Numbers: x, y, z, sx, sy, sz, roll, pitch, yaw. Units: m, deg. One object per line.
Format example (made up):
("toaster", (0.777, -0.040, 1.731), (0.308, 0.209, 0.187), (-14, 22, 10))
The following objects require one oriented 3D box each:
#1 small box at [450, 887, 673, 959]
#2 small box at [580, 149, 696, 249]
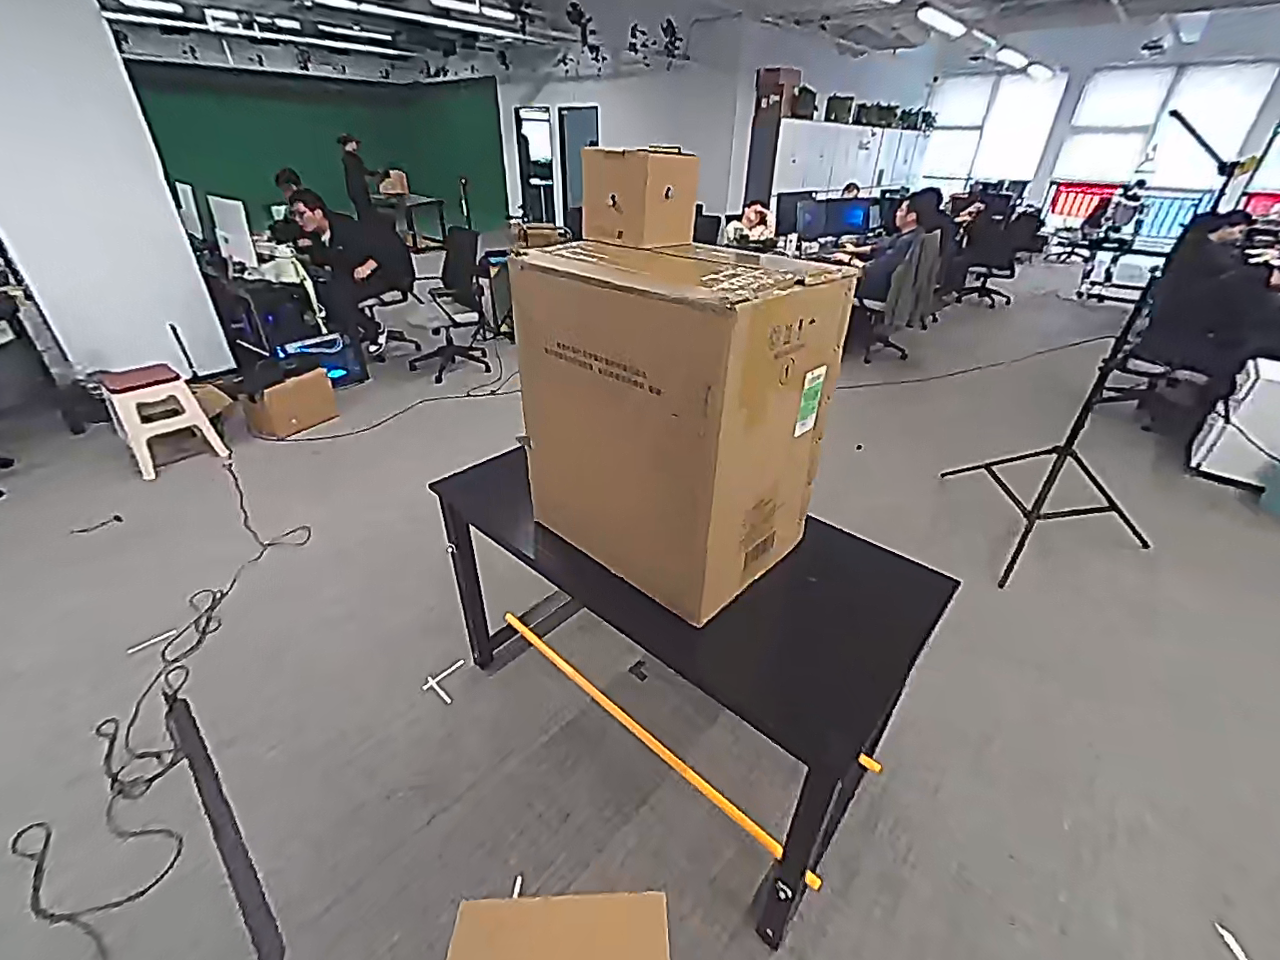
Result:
("small box", (-0.056, 0.439, 0.389), (0.168, 0.176, 0.179), (-2, 25, -2))
("small box", (-0.003, -0.573, 1.104), (0.168, 0.176, 0.179), (24, 37, 31))
